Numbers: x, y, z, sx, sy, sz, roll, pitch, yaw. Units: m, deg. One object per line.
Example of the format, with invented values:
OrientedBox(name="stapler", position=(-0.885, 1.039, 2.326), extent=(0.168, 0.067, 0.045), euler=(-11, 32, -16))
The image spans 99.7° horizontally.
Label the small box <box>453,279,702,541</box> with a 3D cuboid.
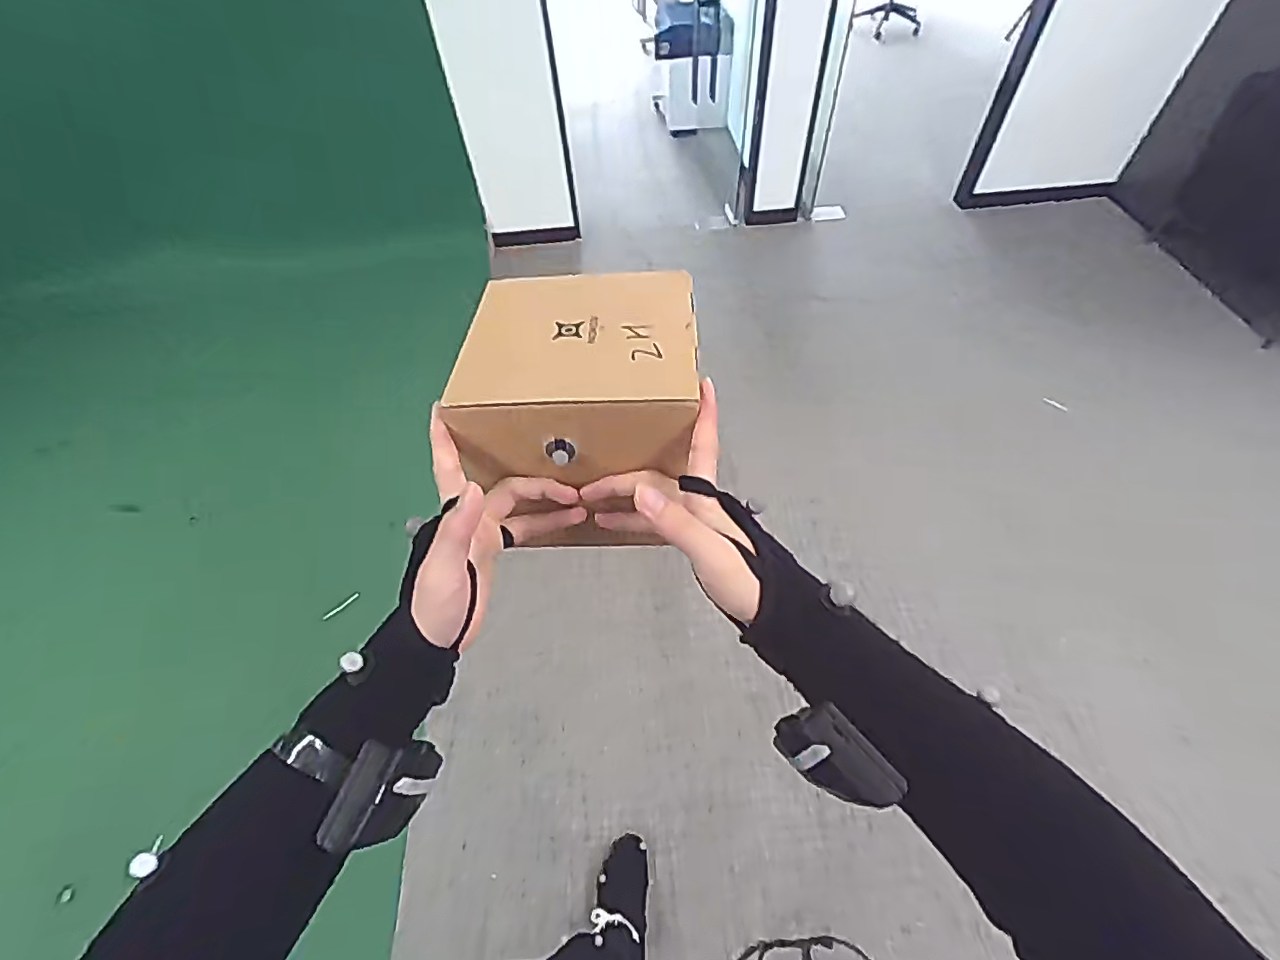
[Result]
OrientedBox(name="small box", position=(-0.036, -0.058, 0.478), extent=(0.179, 0.176, 0.168), euler=(0, 48, 3))
